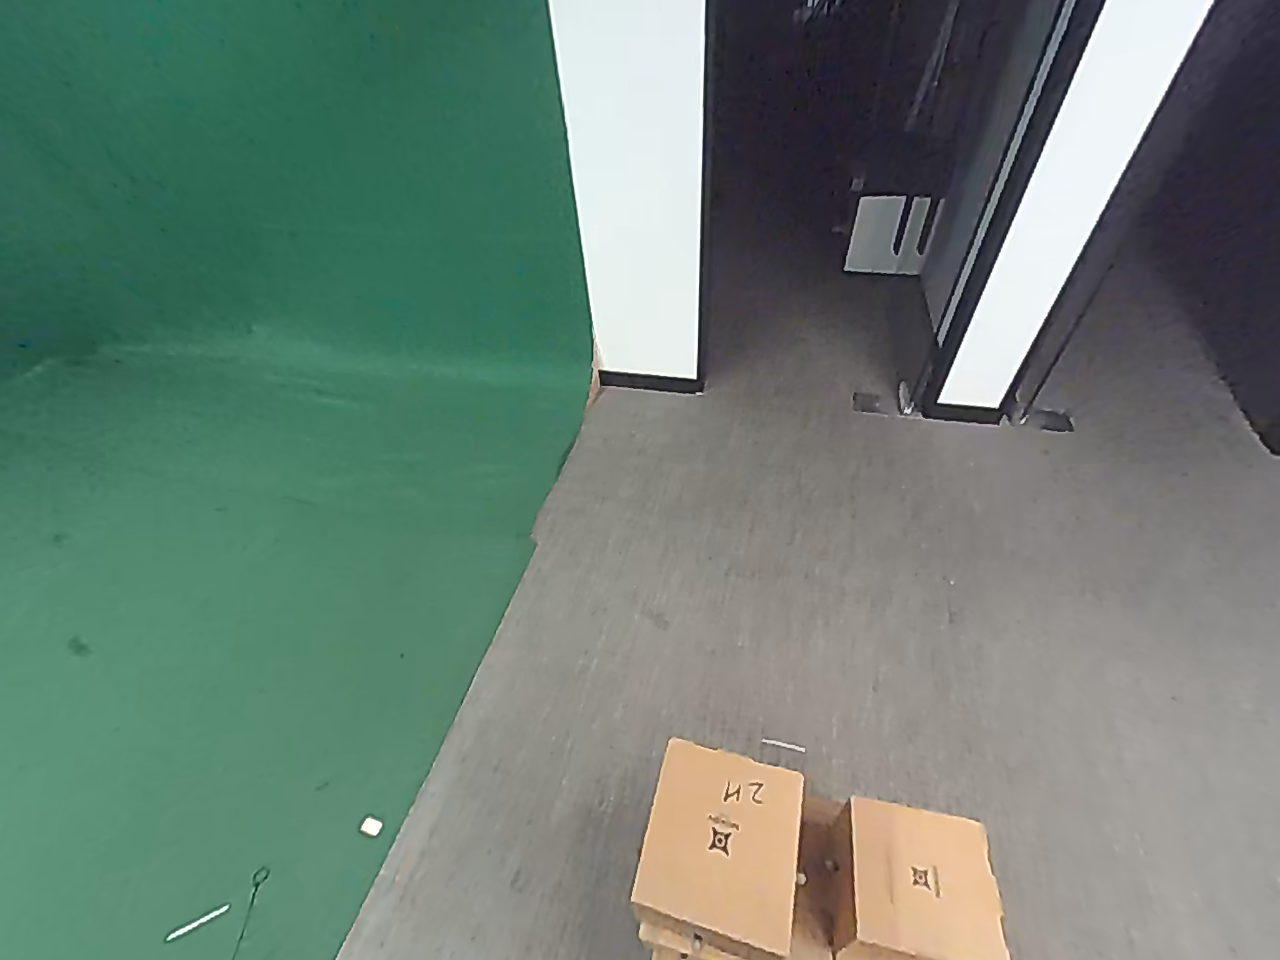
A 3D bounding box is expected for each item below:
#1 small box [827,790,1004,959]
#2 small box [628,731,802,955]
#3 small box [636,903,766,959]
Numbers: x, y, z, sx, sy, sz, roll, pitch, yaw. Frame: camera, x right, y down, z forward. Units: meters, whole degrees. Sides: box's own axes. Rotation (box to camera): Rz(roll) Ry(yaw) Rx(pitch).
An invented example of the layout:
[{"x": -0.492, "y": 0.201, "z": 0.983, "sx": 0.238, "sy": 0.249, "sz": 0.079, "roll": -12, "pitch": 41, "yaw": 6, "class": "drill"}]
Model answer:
[{"x": 0.369, "y": 0.566, "z": 0.758, "sx": 0.179, "sy": 0.176, "sz": 0.168, "roll": 6, "pitch": 46, "yaw": 13, "class": "small box"}, {"x": 0.094, "y": 0.447, "z": 0.665, "sx": 0.168, "sy": 0.176, "sz": 0.179, "roll": 11, "pitch": 48, "yaw": 13, "class": "small box"}, {"x": 0.099, "y": 0.569, "z": 0.775, "sx": 0.168, "sy": 0.176, "sz": 0.179, "roll": 10, "pitch": 48, "yaw": 12, "class": "small box"}]
